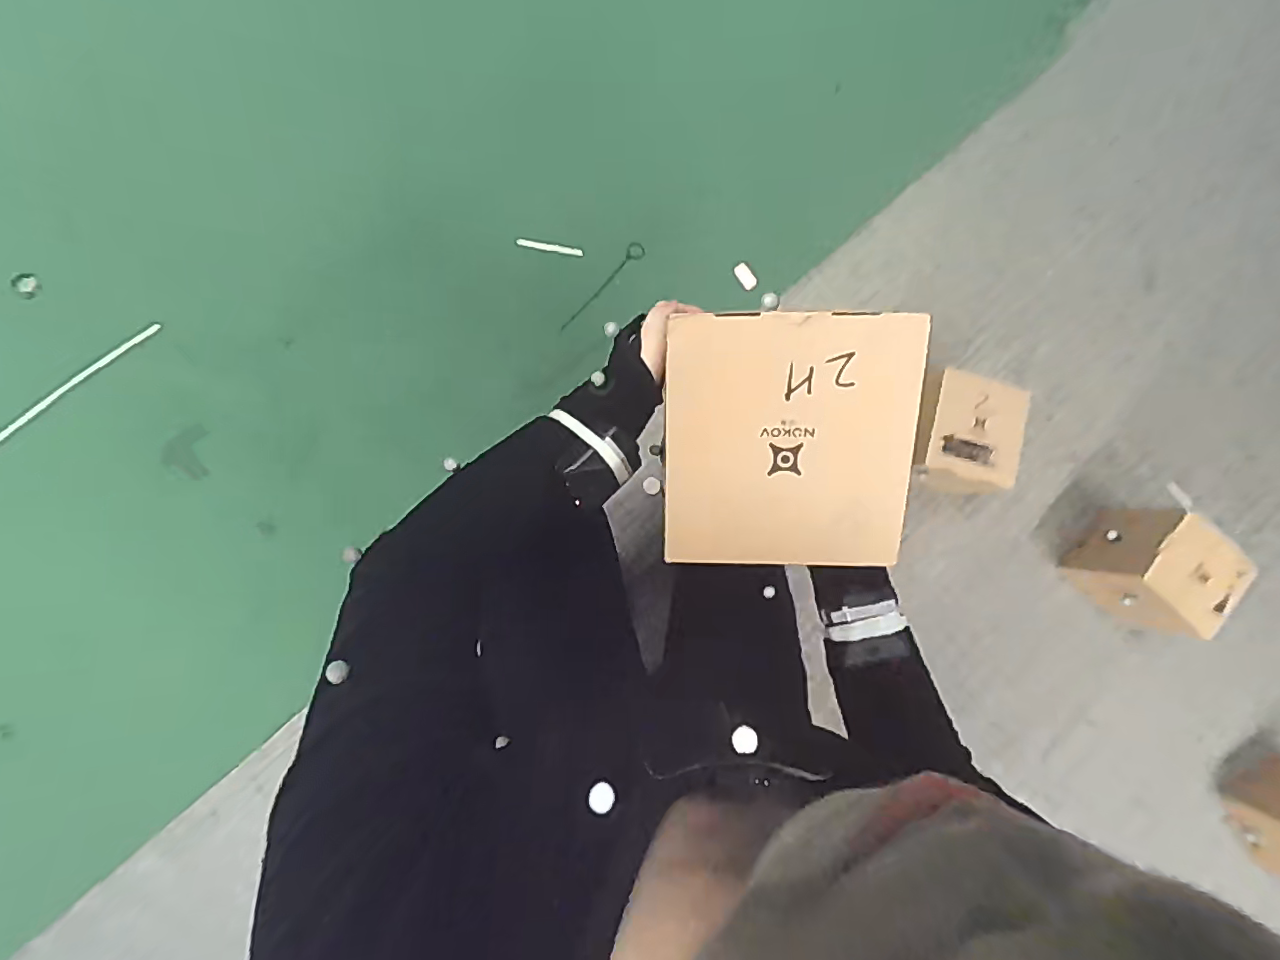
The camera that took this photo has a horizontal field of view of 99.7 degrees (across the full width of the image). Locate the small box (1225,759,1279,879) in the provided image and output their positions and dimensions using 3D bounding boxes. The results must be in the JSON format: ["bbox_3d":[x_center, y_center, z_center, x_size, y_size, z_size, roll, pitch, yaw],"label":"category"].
[{"bbox_3d":[1.295,0.669,1.024,0.179,0.176,0.168,-28,89,-8],"label":"small box"}]

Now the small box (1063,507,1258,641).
[{"bbox_3d":[0.962,0.171,1.018,0.179,0.176,0.168,42,83,-1],"label":"small box"}]

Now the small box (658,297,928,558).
[{"bbox_3d":[0.100,-0.052,0.435,0.168,0.176,0.179,0,105,3],"label":"small box"}]
